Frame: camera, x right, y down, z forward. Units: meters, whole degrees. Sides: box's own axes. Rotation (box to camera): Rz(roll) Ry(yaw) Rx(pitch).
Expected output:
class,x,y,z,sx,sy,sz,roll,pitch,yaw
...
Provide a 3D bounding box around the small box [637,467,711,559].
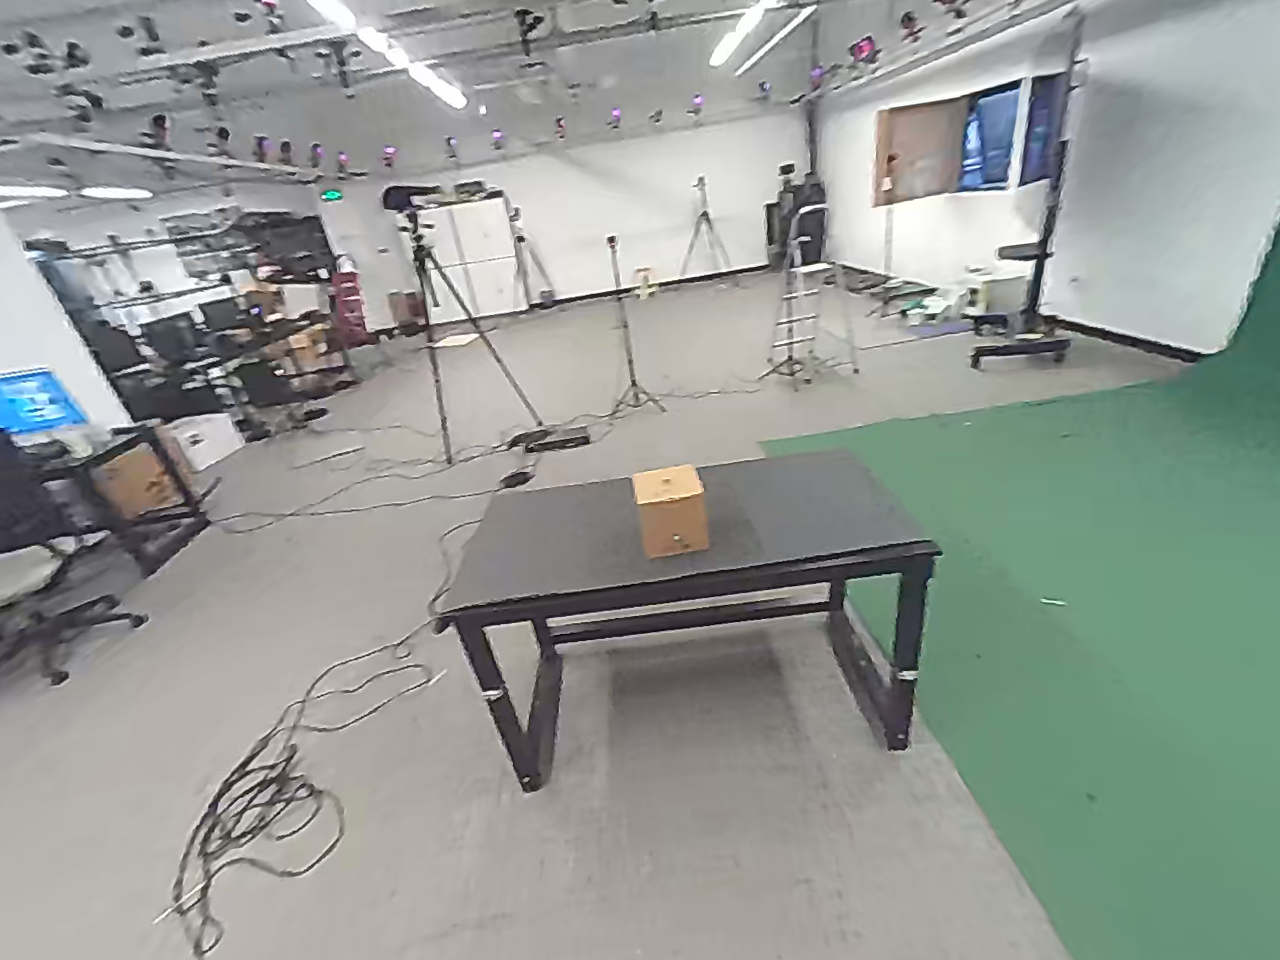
class,x,y,z,sx,sy,sz,roll,pitch,yaw
small box,0.088,0.086,1.425,0.168,0.176,0.179,-10,26,0
